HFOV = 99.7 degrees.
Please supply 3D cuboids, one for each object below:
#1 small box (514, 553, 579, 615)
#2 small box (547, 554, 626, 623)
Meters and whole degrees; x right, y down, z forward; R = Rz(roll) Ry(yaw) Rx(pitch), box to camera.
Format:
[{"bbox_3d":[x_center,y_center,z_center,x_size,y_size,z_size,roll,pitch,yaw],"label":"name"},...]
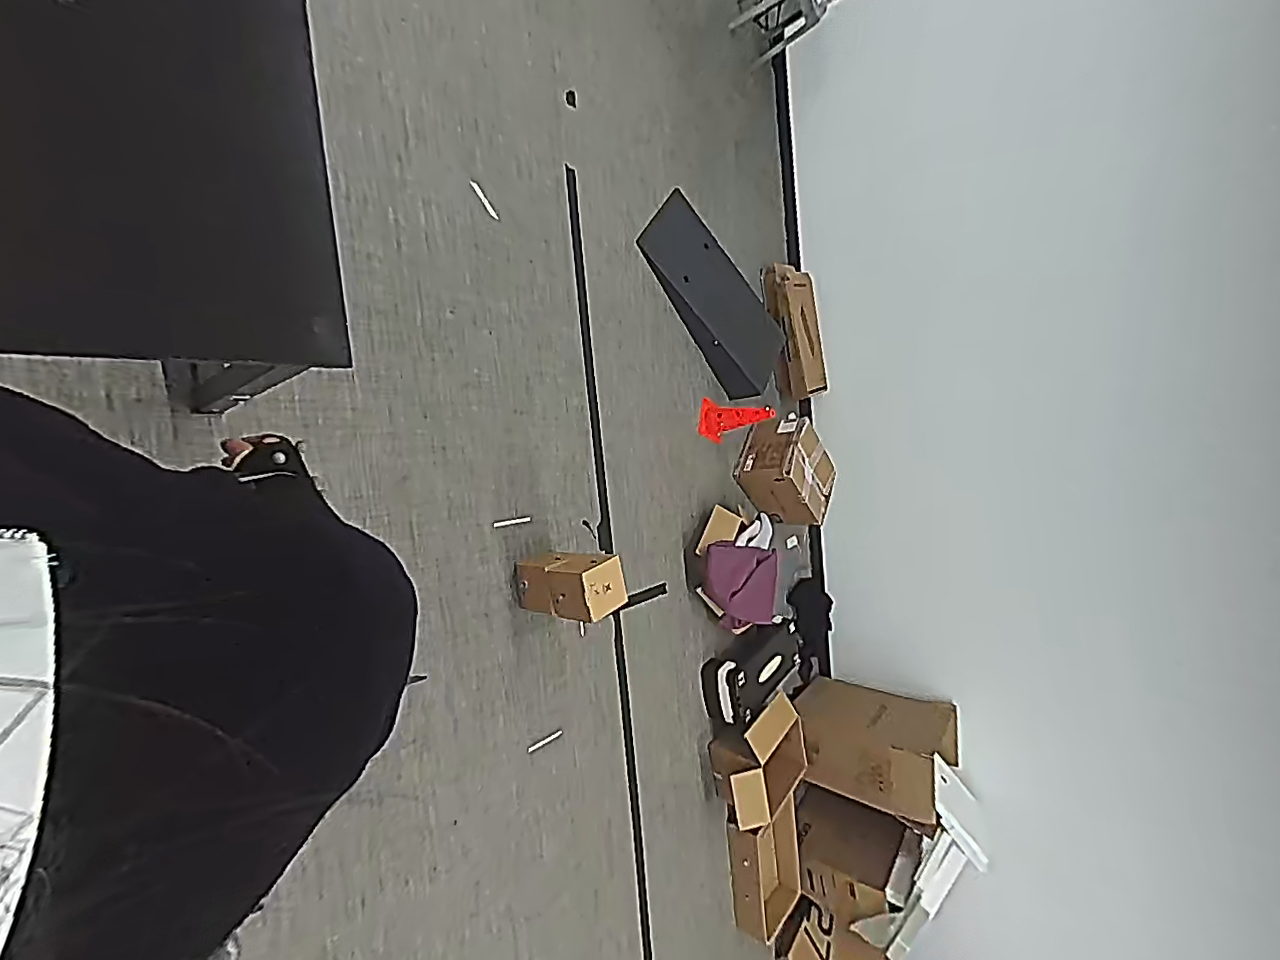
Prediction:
[{"bbox_3d":[-0.308,0.352,1.868,0.179,0.176,0.168,-13,97,-47],"label":"small box"},{"bbox_3d":[-0.175,0.347,1.770,0.179,0.176,0.168,-20,102,-48],"label":"small box"}]
